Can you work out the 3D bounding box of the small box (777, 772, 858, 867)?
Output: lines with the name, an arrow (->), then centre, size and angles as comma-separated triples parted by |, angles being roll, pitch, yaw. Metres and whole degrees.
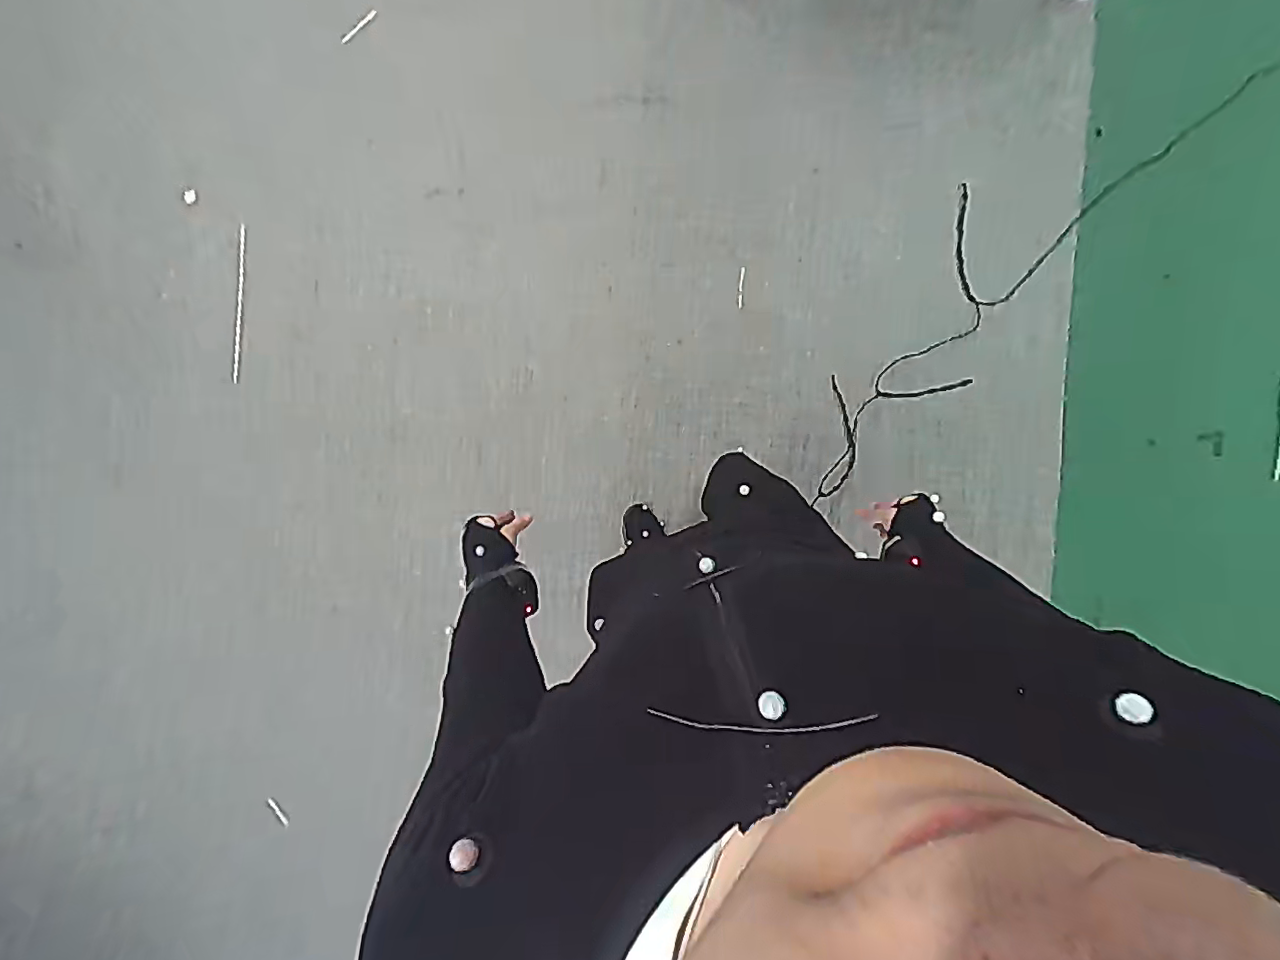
small box -> 0.500, 0.959, 1.537 | 0.179, 0.176, 0.168 | 3, 90, 2
